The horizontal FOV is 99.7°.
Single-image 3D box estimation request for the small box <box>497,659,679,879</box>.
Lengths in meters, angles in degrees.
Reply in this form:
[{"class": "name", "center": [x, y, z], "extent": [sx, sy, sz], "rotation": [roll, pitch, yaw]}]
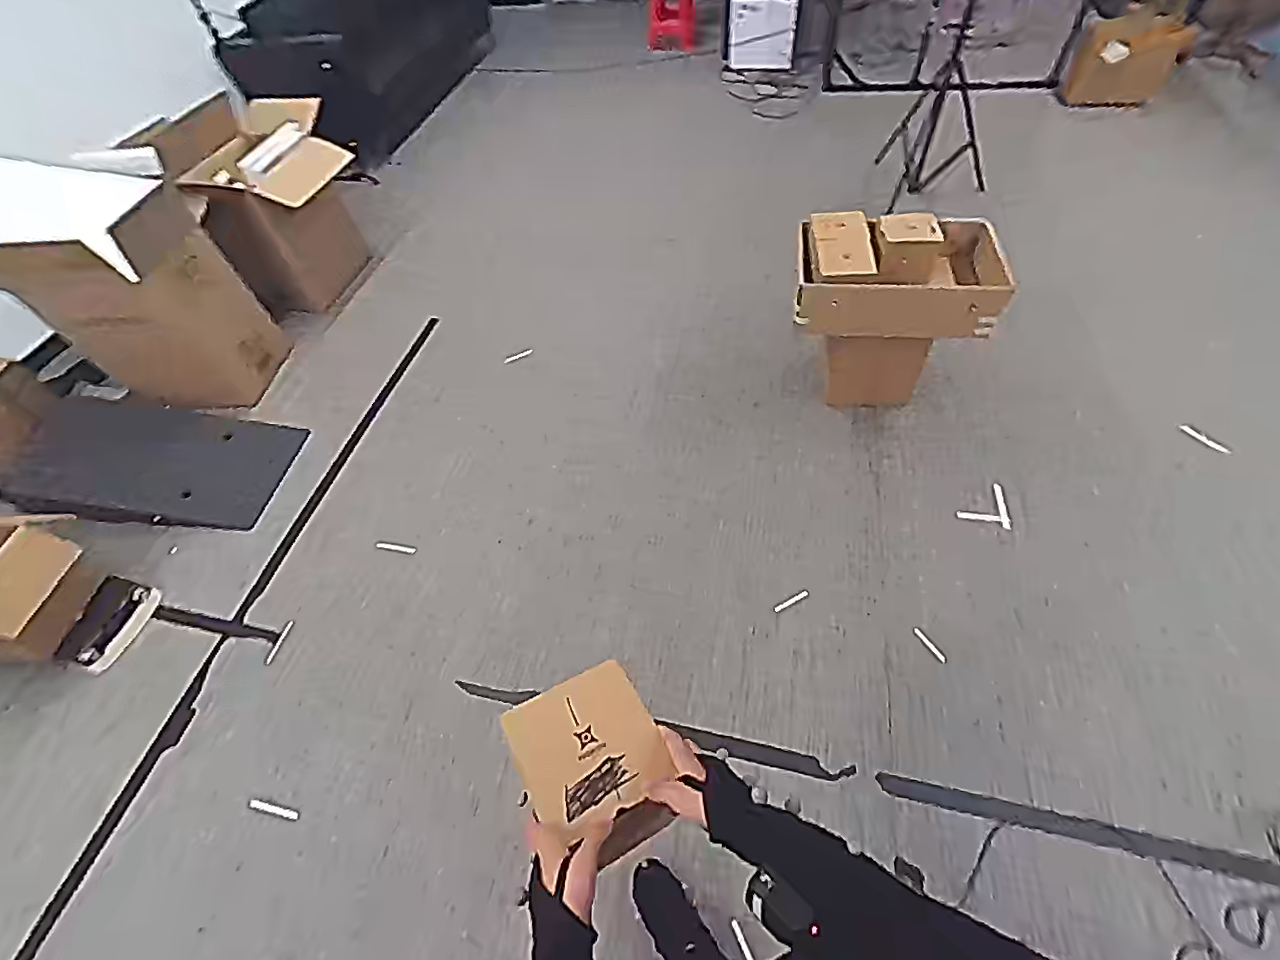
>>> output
[{"class": "small box", "center": [-0.067, 0.374, 0.697], "extent": [0.168, 0.176, 0.179], "rotation": [-20, 47, -23]}]
